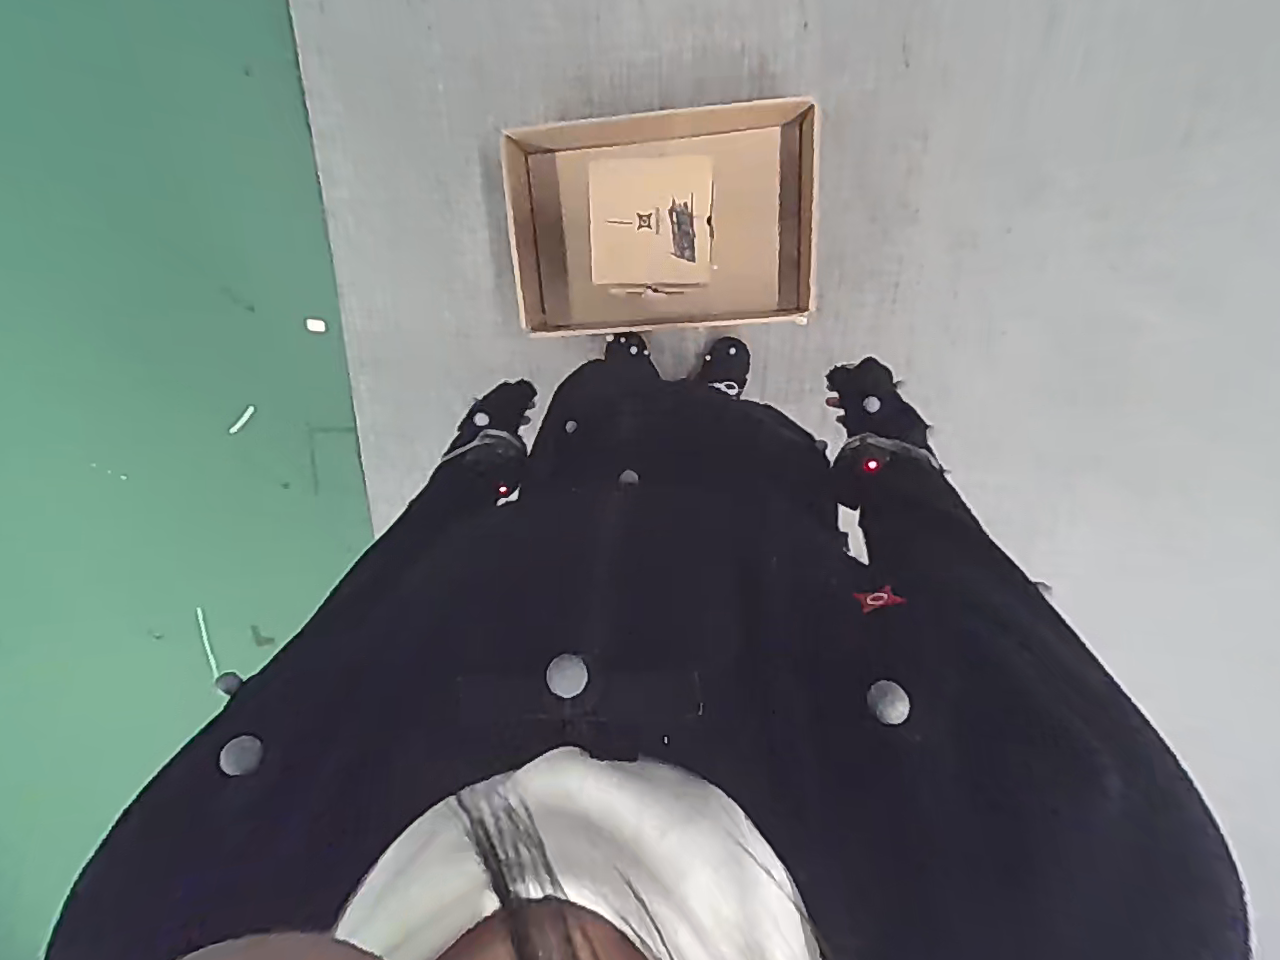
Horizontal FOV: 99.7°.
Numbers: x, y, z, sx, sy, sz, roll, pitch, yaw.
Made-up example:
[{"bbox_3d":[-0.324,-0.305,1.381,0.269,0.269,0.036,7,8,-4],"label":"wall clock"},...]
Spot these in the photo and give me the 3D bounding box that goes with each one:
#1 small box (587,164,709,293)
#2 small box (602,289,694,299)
[{"bbox_3d":[0.016,-0.390,0.859,0.179,0.176,0.168,2,106,5],"label":"small box"},{"bbox_3d":[0.022,-0.430,1.002,0.168,0.176,0.179,2,108,5],"label":"small box"}]
